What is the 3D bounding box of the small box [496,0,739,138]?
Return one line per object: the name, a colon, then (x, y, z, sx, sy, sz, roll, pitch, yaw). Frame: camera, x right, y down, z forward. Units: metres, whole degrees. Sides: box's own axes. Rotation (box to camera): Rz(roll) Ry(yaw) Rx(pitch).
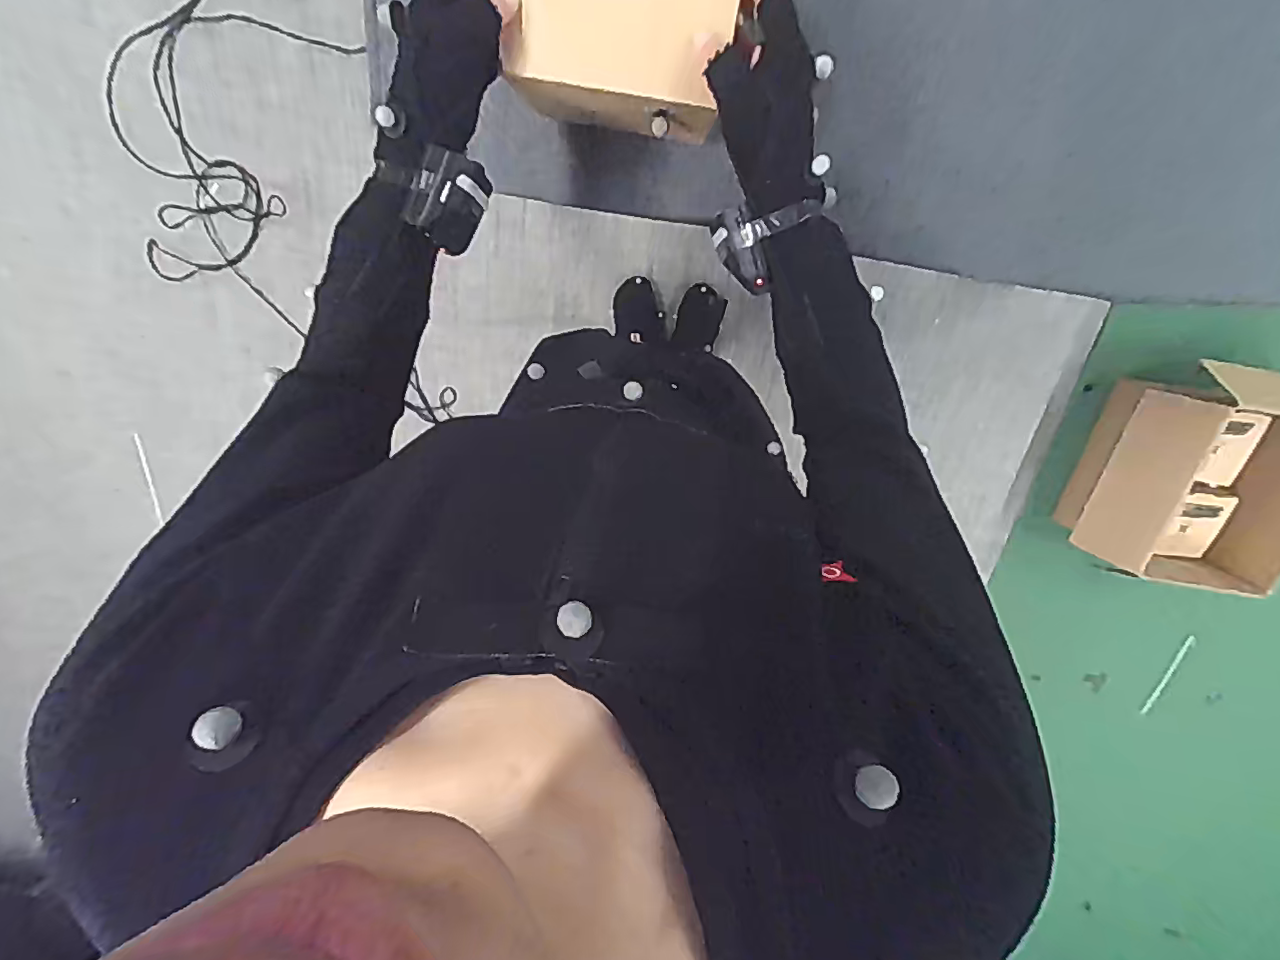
small box: (-0.011, -0.403, 0.453, 0.179, 0.176, 0.168, 8, 114, -2)
